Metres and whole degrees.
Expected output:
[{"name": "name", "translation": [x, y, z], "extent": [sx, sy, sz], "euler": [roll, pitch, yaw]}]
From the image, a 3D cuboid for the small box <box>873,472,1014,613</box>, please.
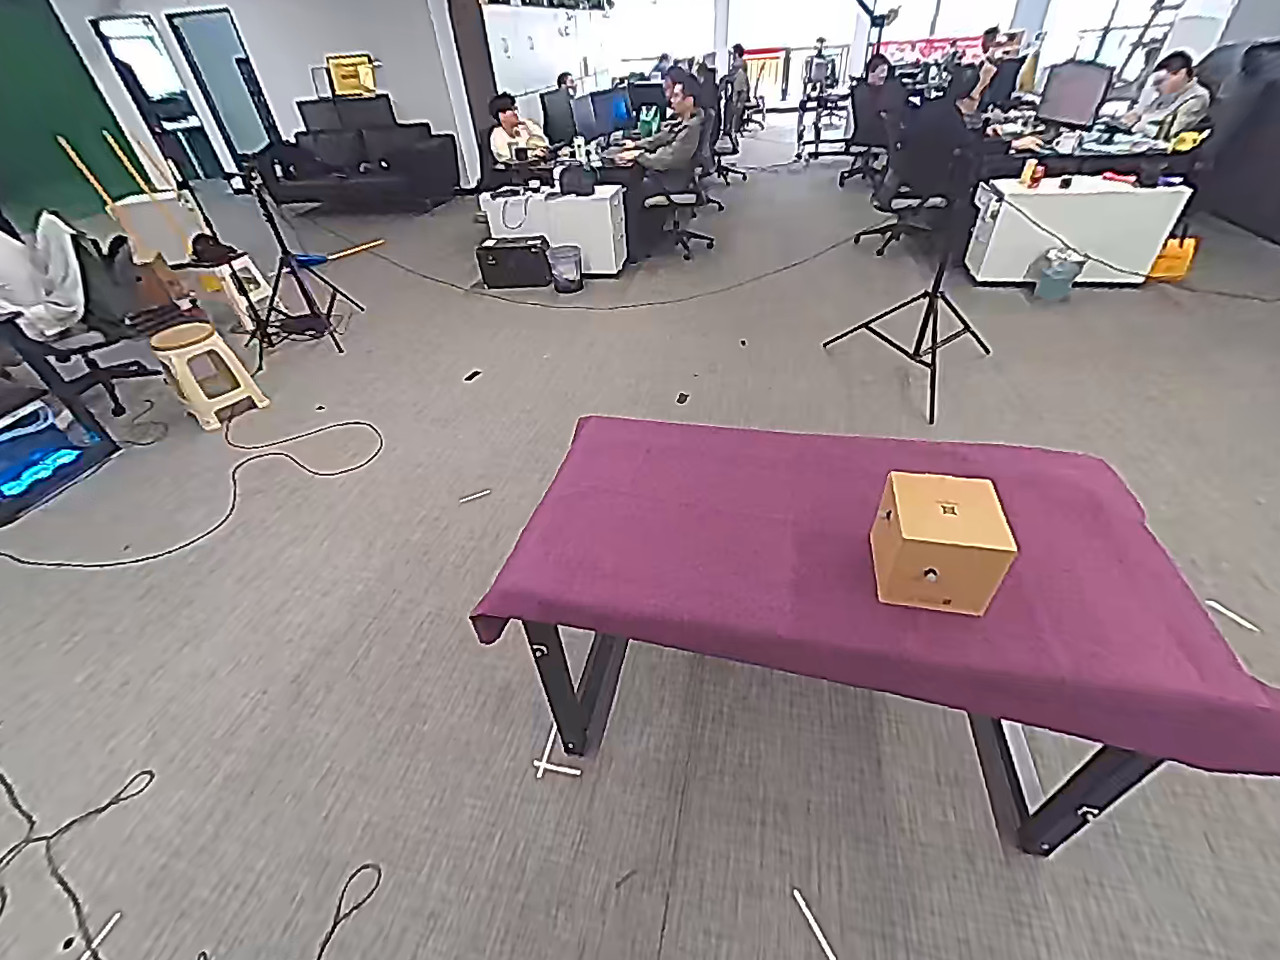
[{"name": "small box", "translation": [0.517, 0.110, 0.949], "extent": [0.168, 0.176, 0.179], "euler": [6, 40, 13]}]
